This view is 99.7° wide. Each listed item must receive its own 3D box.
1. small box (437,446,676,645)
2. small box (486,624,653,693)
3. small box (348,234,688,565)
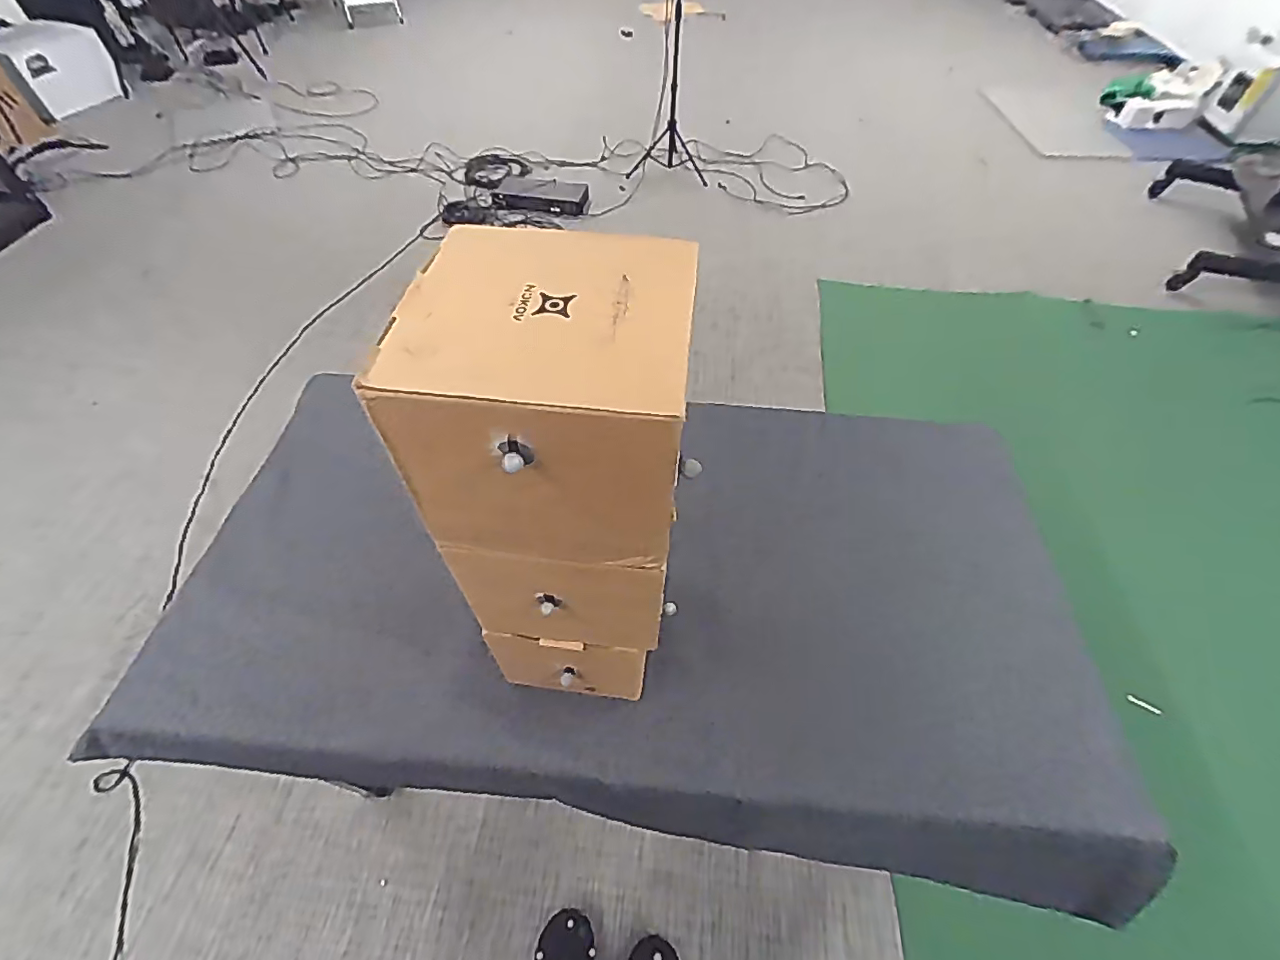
[{"bbox_3d":[-0.061,0.047,0.518,0.179,0.176,0.168,4,53,5],"label":"small box"},{"bbox_3d":[-0.065,0.143,0.651,0.168,0.176,0.179,5,53,4],"label":"small box"},{"bbox_3d":[-0.061,-0.052,0.390,0.179,0.176,0.168,5,54,3],"label":"small box"}]
